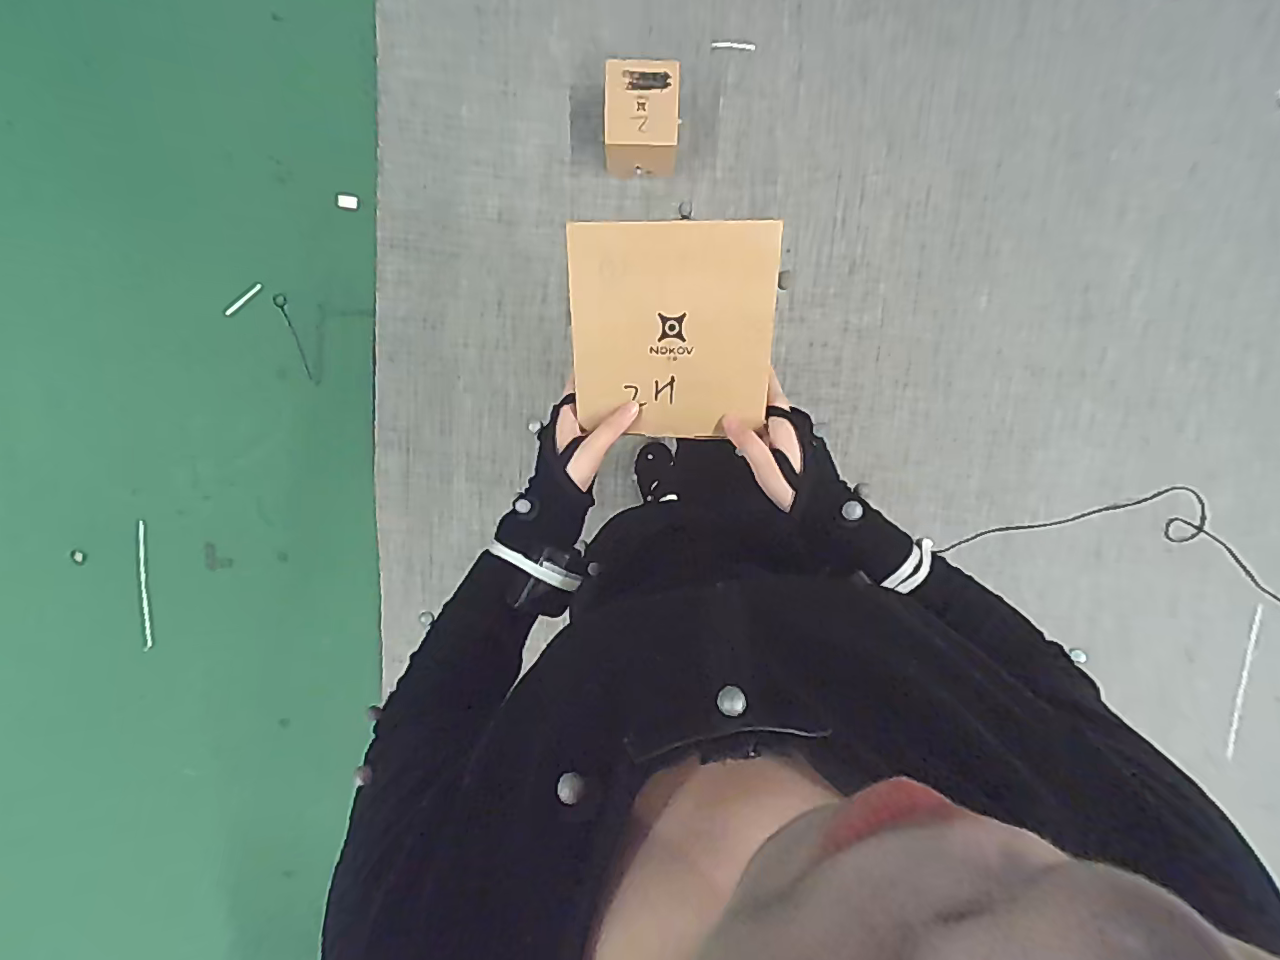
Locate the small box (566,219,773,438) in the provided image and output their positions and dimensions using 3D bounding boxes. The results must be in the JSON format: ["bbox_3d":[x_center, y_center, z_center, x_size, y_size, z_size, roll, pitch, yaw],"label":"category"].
[{"bbox_3d":[0.029,-0.152,0.524,0.168,0.176,0.179,3,114,7],"label":"small box"}]
